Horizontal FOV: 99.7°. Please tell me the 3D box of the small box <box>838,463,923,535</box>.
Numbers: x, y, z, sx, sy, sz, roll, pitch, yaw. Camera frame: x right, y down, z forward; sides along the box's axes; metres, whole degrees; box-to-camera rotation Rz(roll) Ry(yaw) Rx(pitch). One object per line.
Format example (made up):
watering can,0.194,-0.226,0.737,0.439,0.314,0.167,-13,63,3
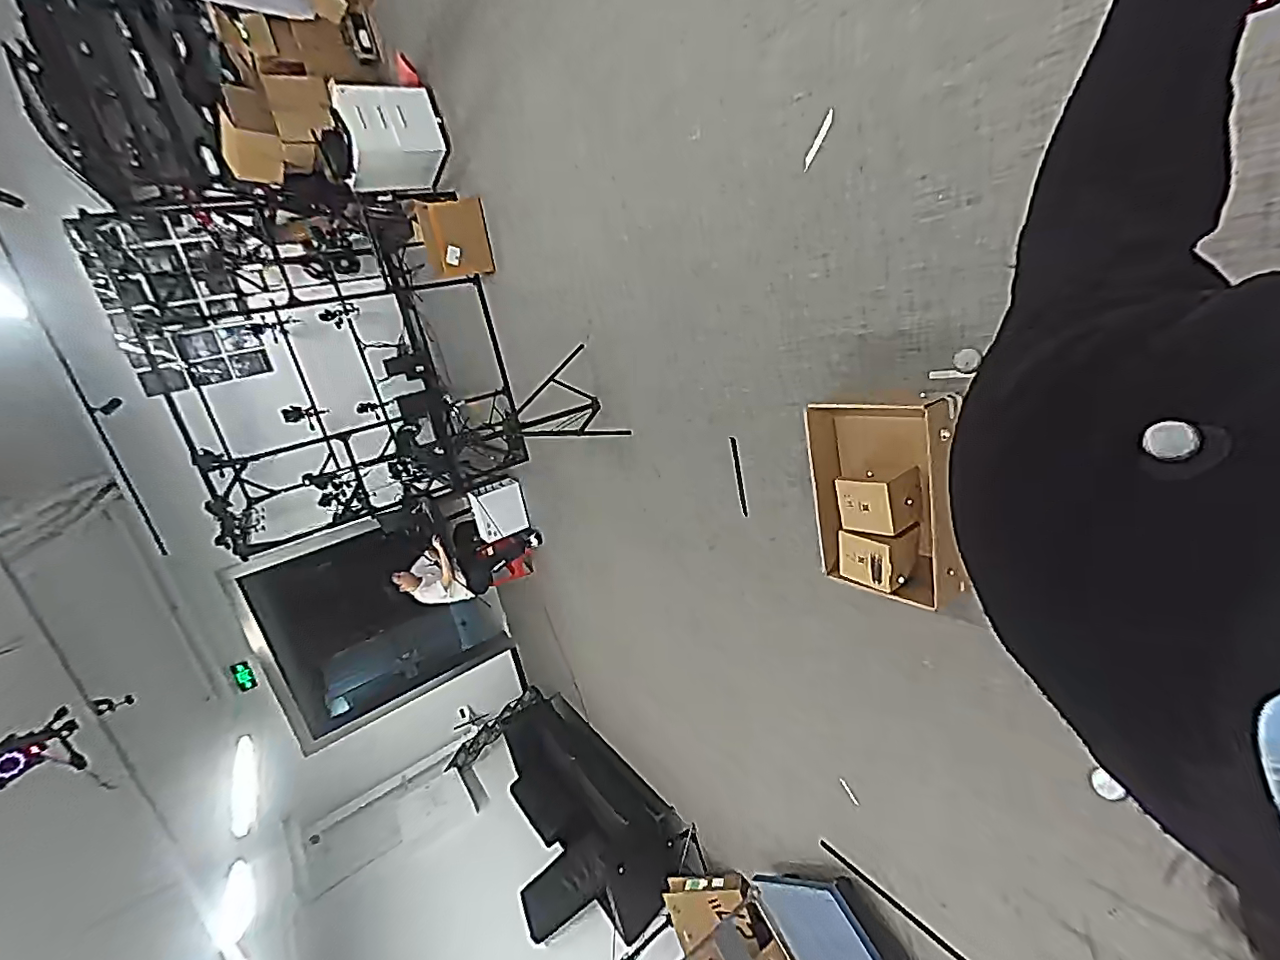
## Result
small box,0.738,0.050,1.645,0.179,0.176,0.168,7,115,57
